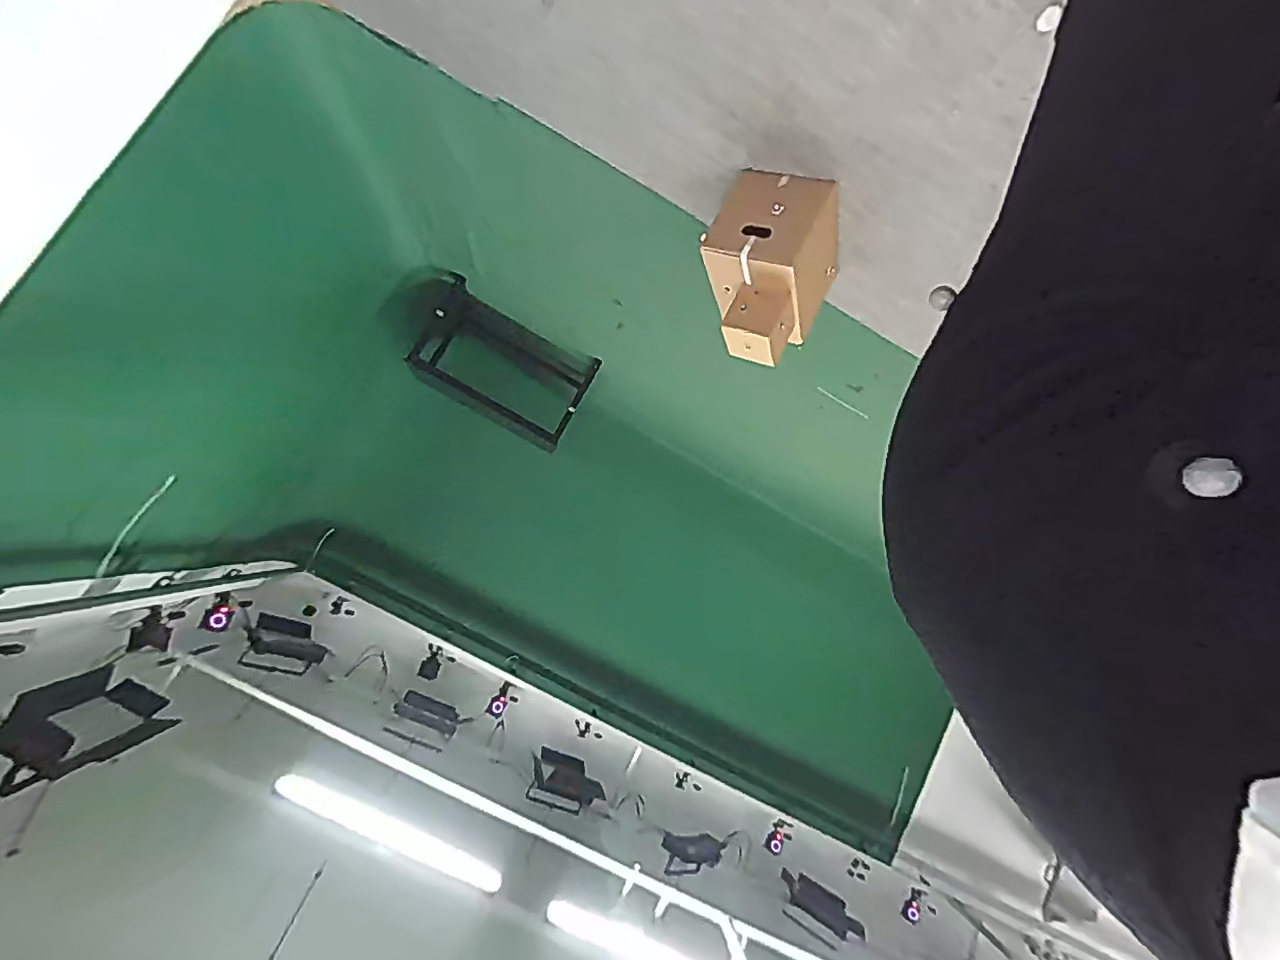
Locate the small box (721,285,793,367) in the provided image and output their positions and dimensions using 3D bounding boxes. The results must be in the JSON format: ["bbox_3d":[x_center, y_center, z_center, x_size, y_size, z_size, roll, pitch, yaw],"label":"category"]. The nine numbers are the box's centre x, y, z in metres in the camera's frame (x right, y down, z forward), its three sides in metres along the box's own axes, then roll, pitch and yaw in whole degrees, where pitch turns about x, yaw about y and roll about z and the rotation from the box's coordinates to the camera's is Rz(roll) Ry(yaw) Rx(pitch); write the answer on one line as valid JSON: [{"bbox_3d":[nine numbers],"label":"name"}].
[{"bbox_3d":[0.379,-0.496,1.732,0.168,0.176,0.179,24,170,25],"label":"small box"}]
